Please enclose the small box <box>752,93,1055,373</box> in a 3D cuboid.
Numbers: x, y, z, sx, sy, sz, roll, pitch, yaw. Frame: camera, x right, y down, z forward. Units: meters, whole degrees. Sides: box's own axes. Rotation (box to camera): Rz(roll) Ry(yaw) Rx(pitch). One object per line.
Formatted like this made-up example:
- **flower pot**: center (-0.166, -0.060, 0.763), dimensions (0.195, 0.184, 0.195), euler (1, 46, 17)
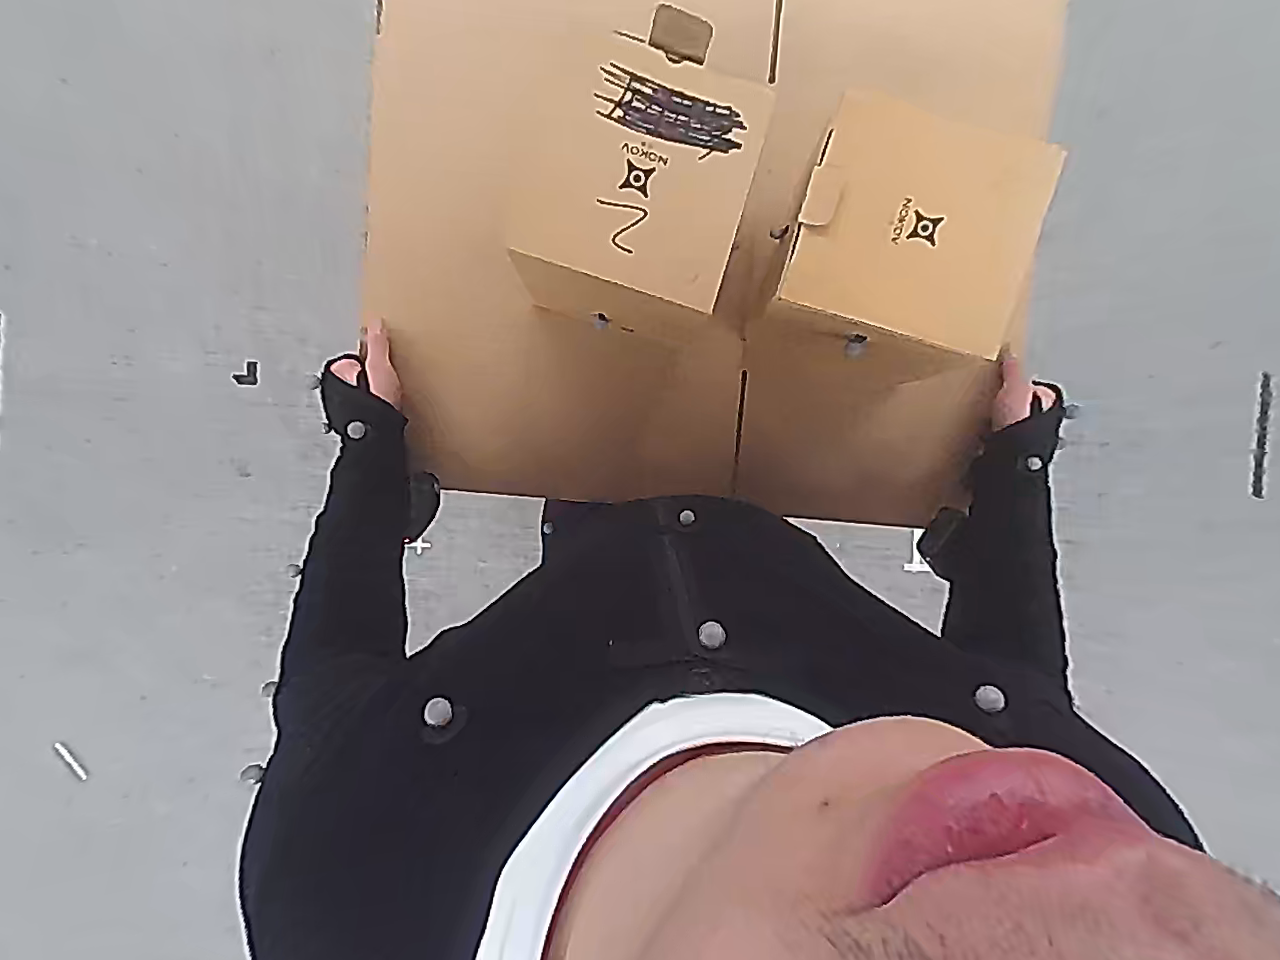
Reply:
- **small box**: center (0.219, -0.206, 0.504), dimensions (0.179, 0.176, 0.168), euler (17, 94, 3)
